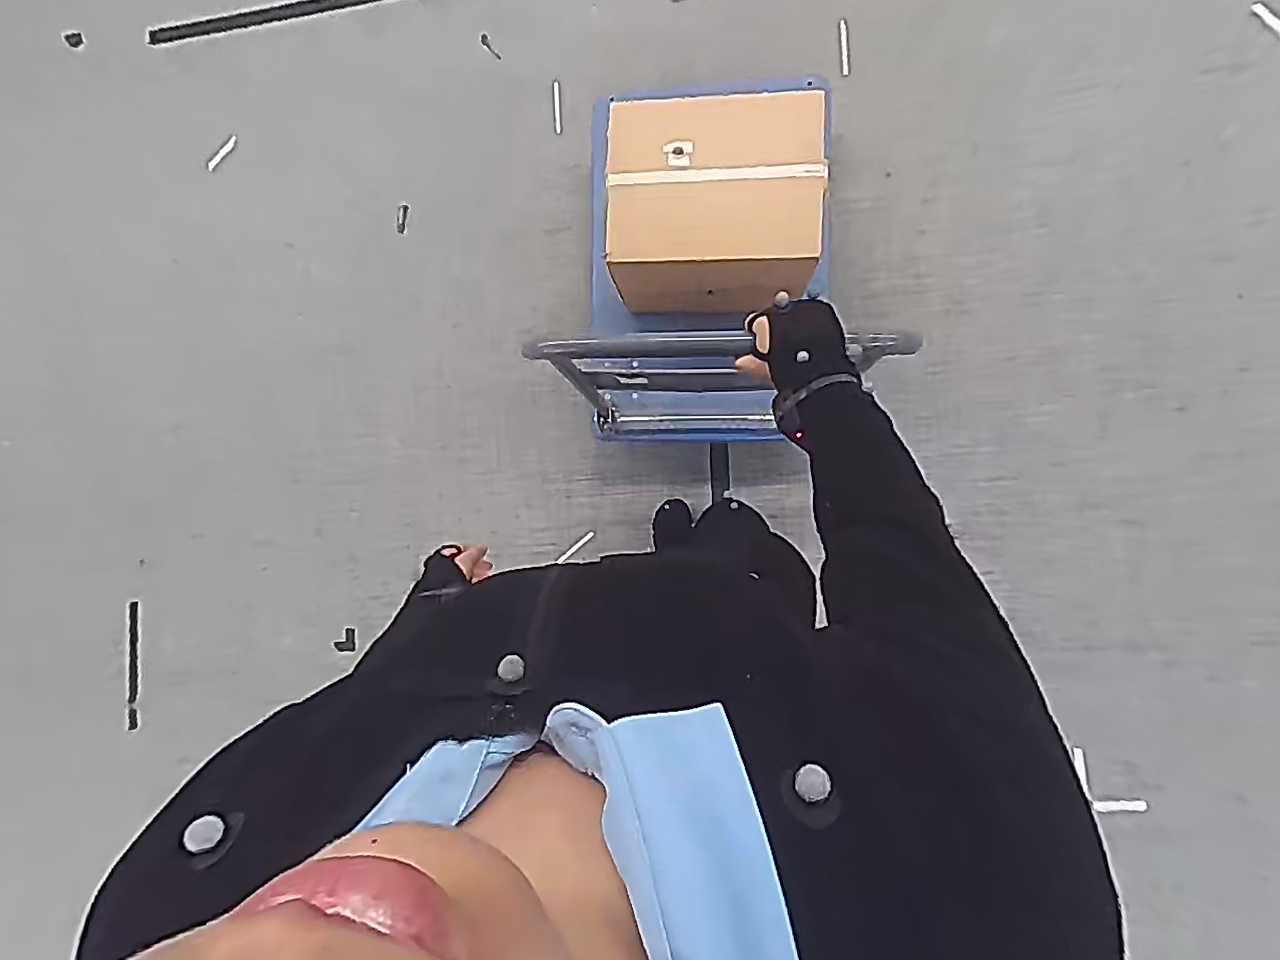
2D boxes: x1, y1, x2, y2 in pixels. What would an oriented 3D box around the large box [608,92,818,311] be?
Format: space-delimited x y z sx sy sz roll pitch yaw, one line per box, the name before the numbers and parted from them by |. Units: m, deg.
large box | 0.157 -0.572 1.181 0.408 0.320 0.320 1 88 8
